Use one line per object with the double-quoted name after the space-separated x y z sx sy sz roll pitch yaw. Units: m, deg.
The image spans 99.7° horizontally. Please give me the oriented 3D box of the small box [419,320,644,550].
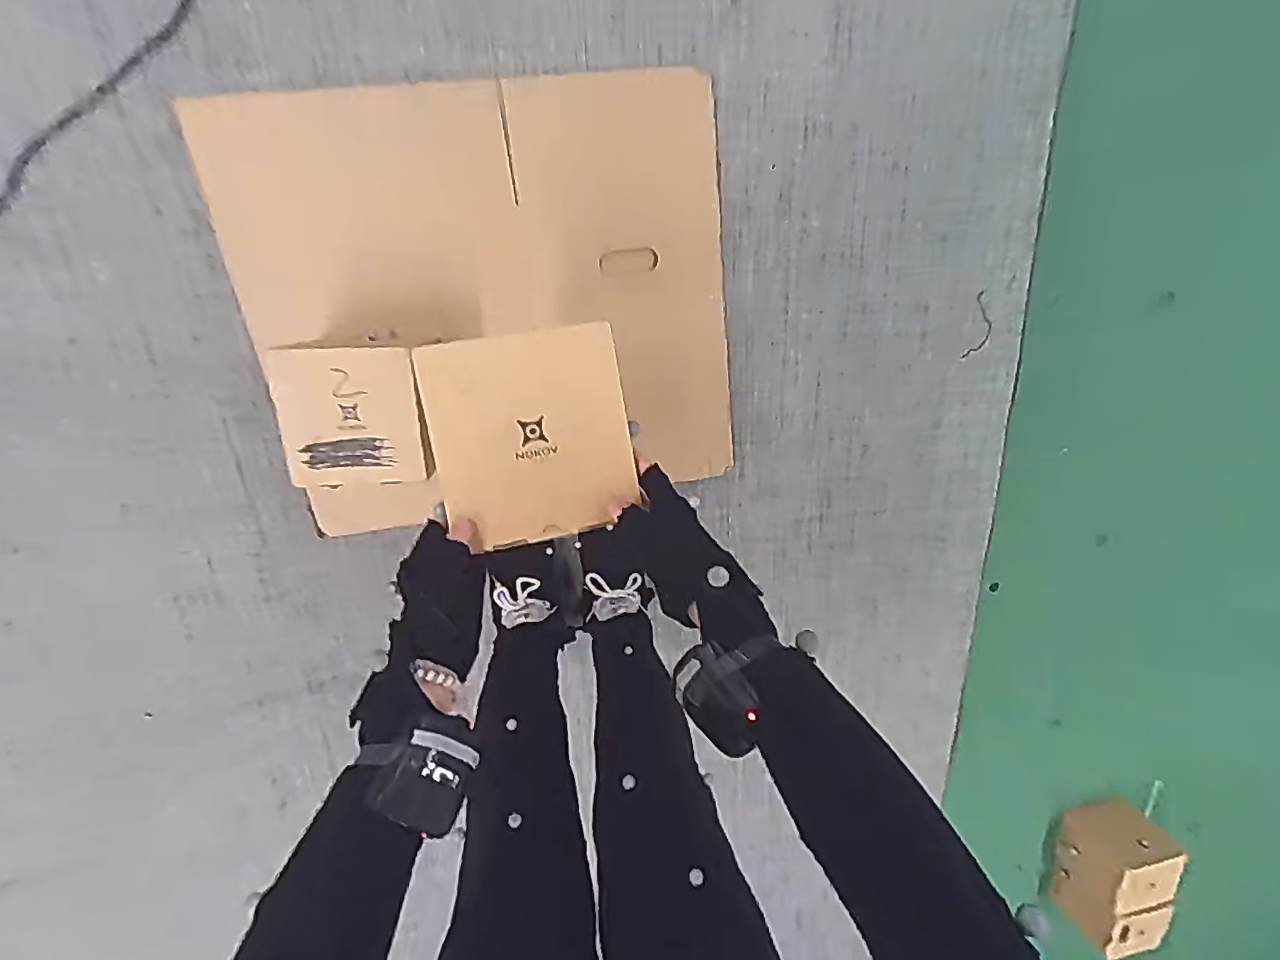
-0.107 -0.045 0.540 0.168 0.176 0.179 -12 98 -12 "small box"
